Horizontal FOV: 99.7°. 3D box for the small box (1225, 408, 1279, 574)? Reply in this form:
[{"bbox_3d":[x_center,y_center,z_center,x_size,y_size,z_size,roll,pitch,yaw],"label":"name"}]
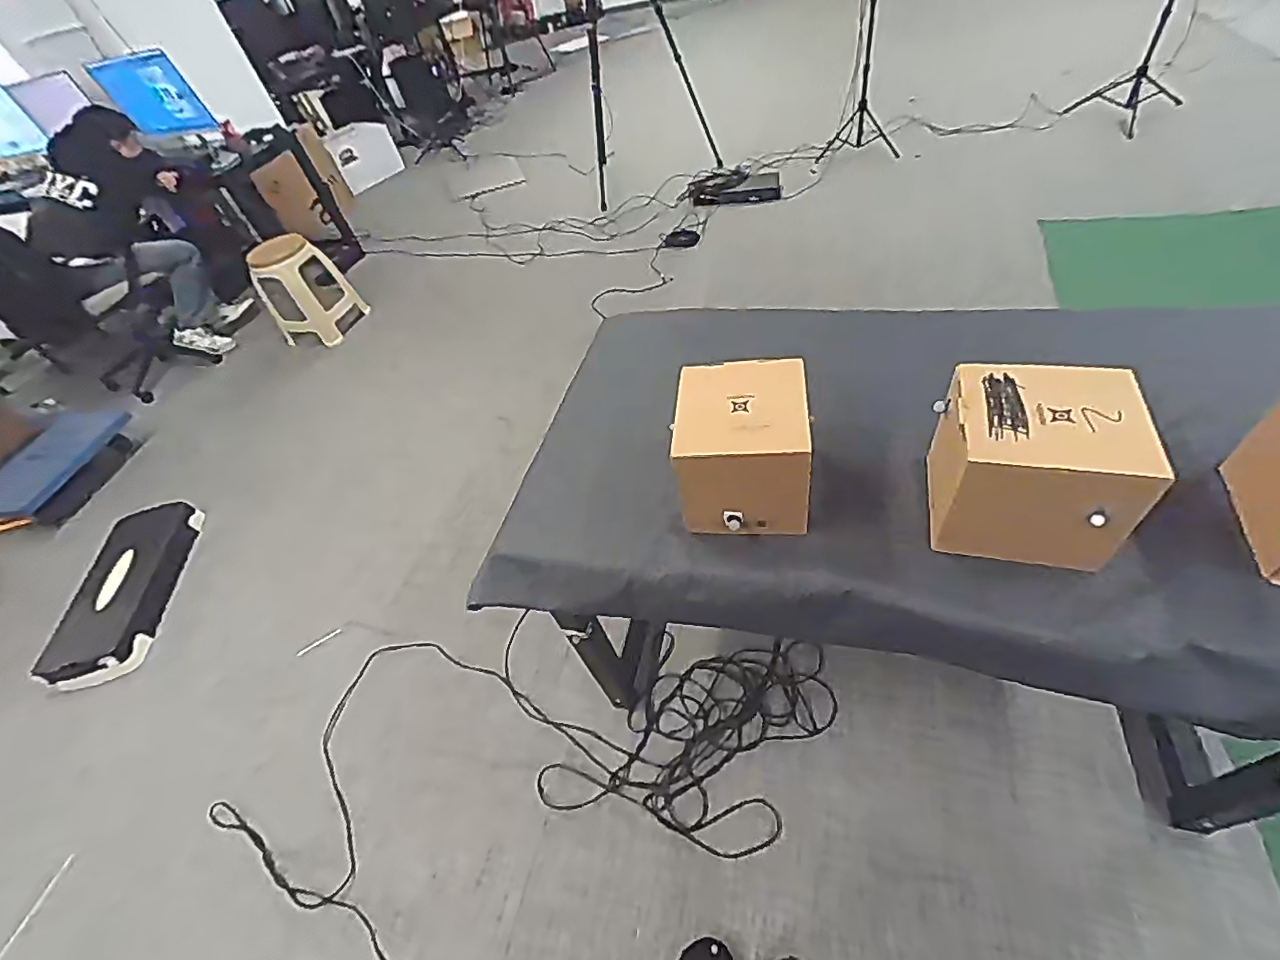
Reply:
[{"bbox_3d":[0.763,0.001,0.547,0.168,0.176,0.179,8,52,20],"label":"small box"}]

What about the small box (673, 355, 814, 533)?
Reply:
[{"bbox_3d":[0.144,-0.047,0.742,0.168,0.176,0.179,-2,50,13],"label":"small box"}]
